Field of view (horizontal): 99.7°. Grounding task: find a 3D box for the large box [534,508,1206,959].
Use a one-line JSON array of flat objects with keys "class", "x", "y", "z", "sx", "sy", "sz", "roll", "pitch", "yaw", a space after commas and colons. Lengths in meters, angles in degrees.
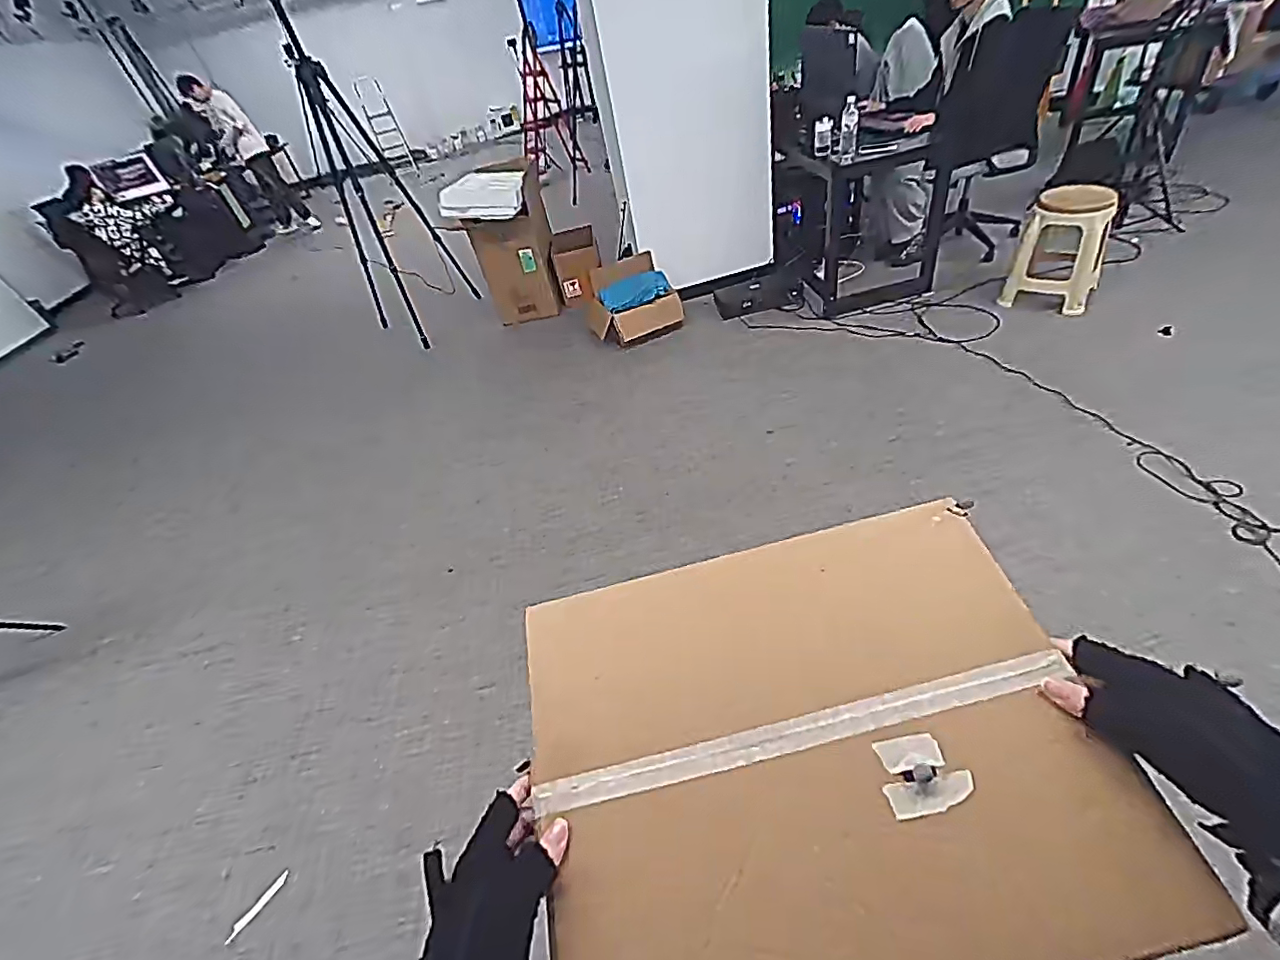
[{"class": "large box", "x": 0.145, "y": 0.282, "z": 0.532, "sx": 0.408, "sy": 0.320, "sz": 0.320, "roll": -15, "pitch": 53, "yaw": 0}]
